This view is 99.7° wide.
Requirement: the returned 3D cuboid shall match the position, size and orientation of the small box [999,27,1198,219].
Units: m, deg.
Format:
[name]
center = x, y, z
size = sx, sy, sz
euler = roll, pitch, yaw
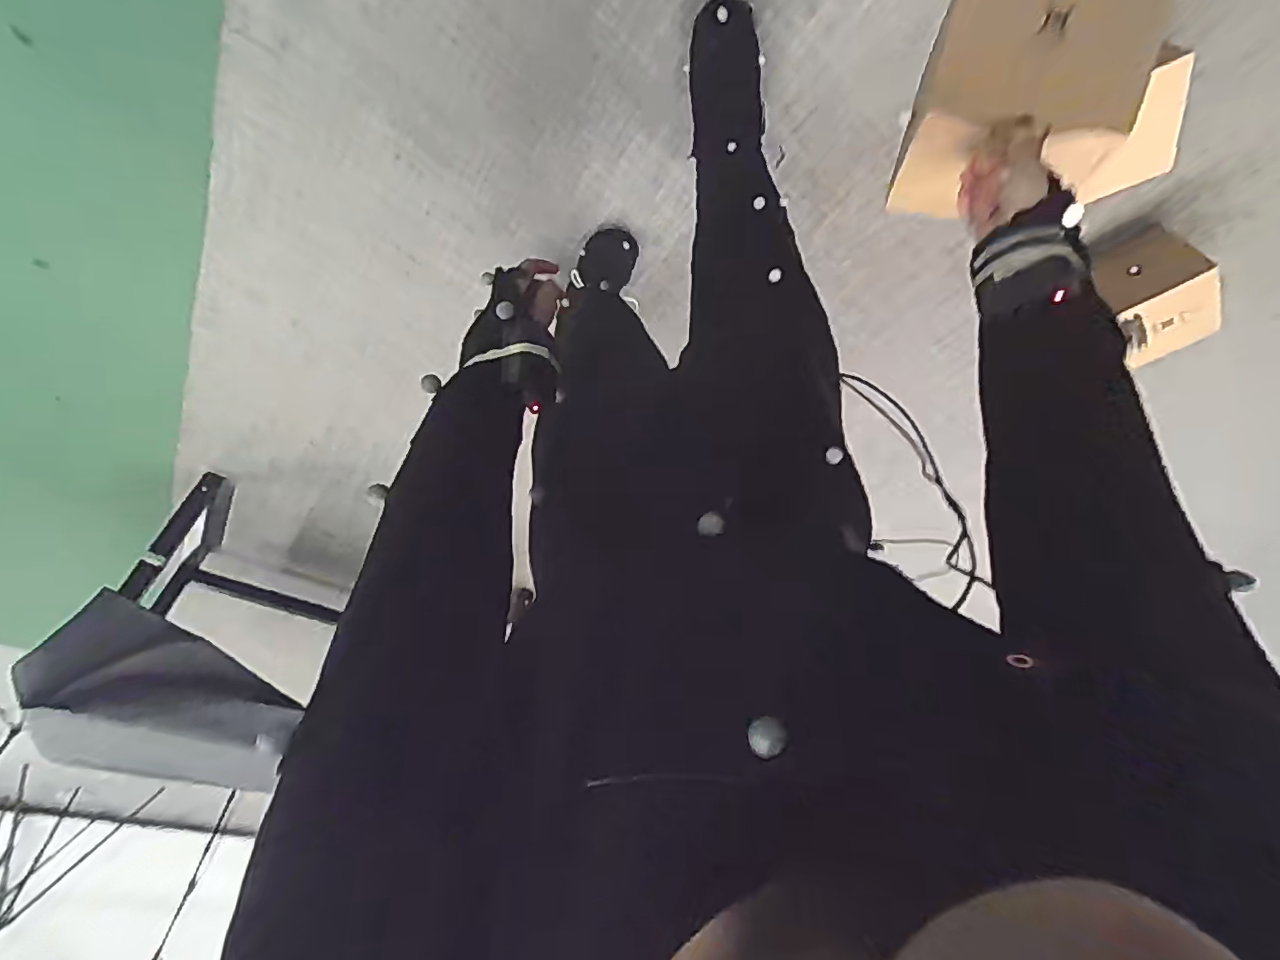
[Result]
[small box]
center = 0.690, -0.553, 0.840
size = 0.179, 0.176, 0.168
euler = -17, 136, 22
